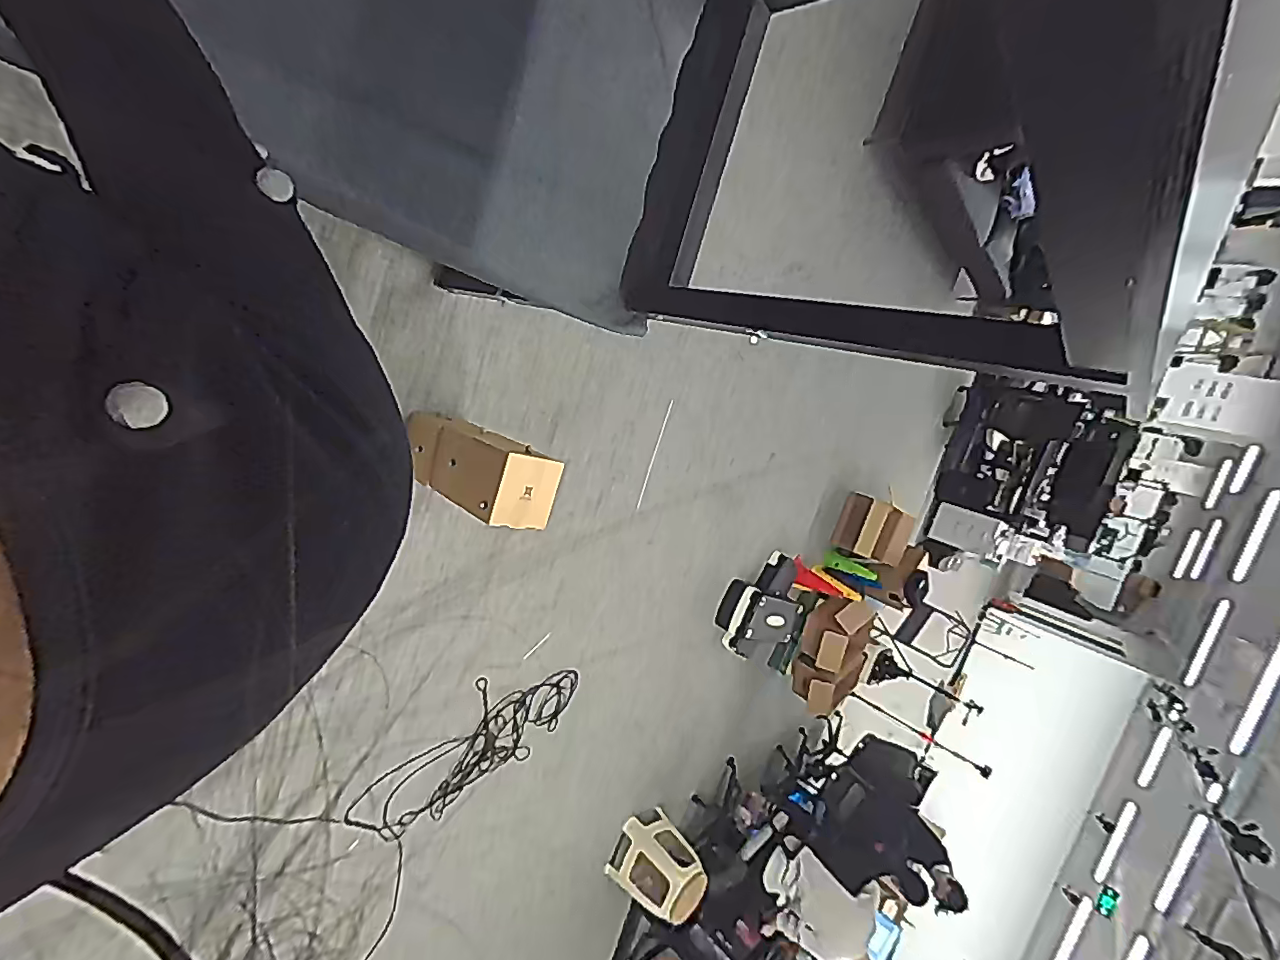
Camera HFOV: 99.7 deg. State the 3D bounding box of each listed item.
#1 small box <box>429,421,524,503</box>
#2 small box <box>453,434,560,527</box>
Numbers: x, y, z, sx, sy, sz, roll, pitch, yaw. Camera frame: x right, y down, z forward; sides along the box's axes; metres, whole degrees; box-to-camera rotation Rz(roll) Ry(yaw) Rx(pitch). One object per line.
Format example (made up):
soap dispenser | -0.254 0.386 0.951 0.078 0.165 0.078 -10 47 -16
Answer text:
small box | -0.434 -0.043 1.424 0.168 0.176 0.179 7 102 -48
small box | -0.328 0.000 1.308 0.168 0.176 0.179 11 100 -48
